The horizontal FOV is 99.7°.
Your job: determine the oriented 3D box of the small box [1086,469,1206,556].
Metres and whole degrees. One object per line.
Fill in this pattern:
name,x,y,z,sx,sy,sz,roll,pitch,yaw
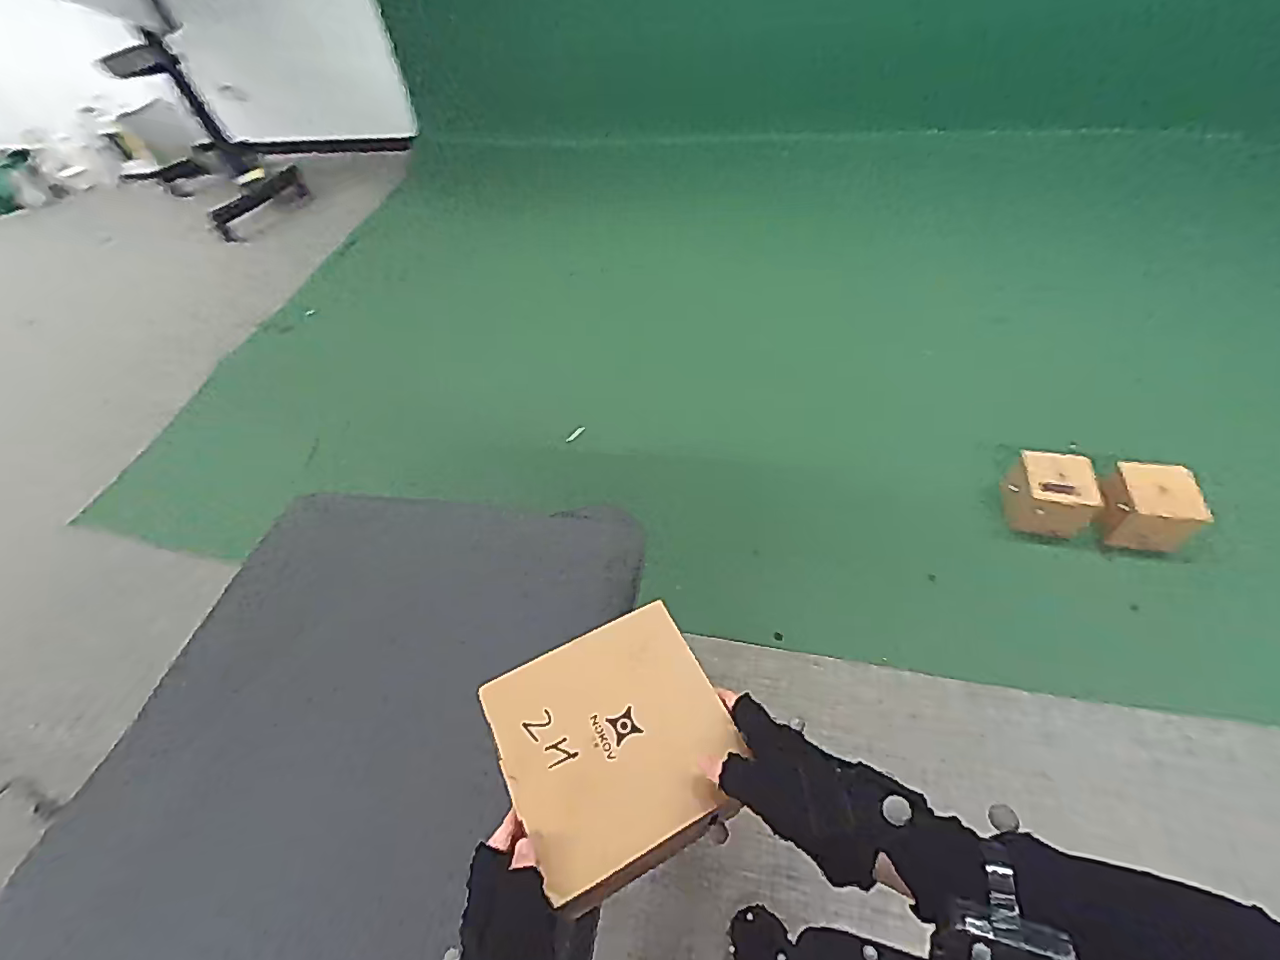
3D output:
small box,1.412,0.092,1.526,0.168,0.176,0.179,6,55,10

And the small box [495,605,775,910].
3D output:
small box,-0.009,0.247,0.486,0.179,0.176,0.168,-21,53,-15
